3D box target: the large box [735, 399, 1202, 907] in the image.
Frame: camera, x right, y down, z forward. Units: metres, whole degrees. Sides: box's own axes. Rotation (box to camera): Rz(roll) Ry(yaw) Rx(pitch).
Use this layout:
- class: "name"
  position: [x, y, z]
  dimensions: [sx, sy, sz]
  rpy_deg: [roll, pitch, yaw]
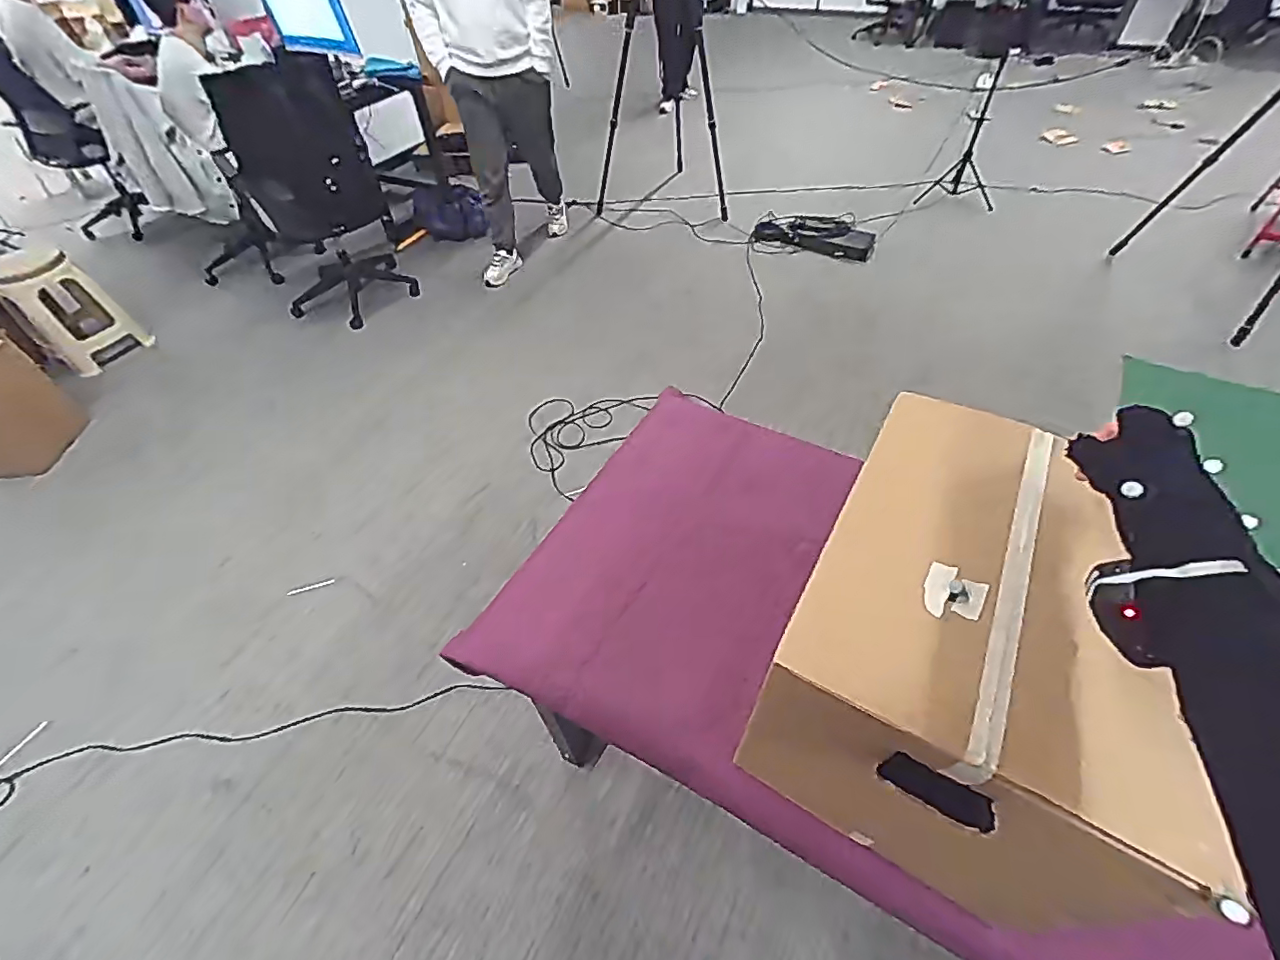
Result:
- class: "large box"
  position: [0.345, 0.181, 0.629]
  dimensions: [0.320, 0.320, 0.408]
  rpy_deg: [24, 55, 22]
